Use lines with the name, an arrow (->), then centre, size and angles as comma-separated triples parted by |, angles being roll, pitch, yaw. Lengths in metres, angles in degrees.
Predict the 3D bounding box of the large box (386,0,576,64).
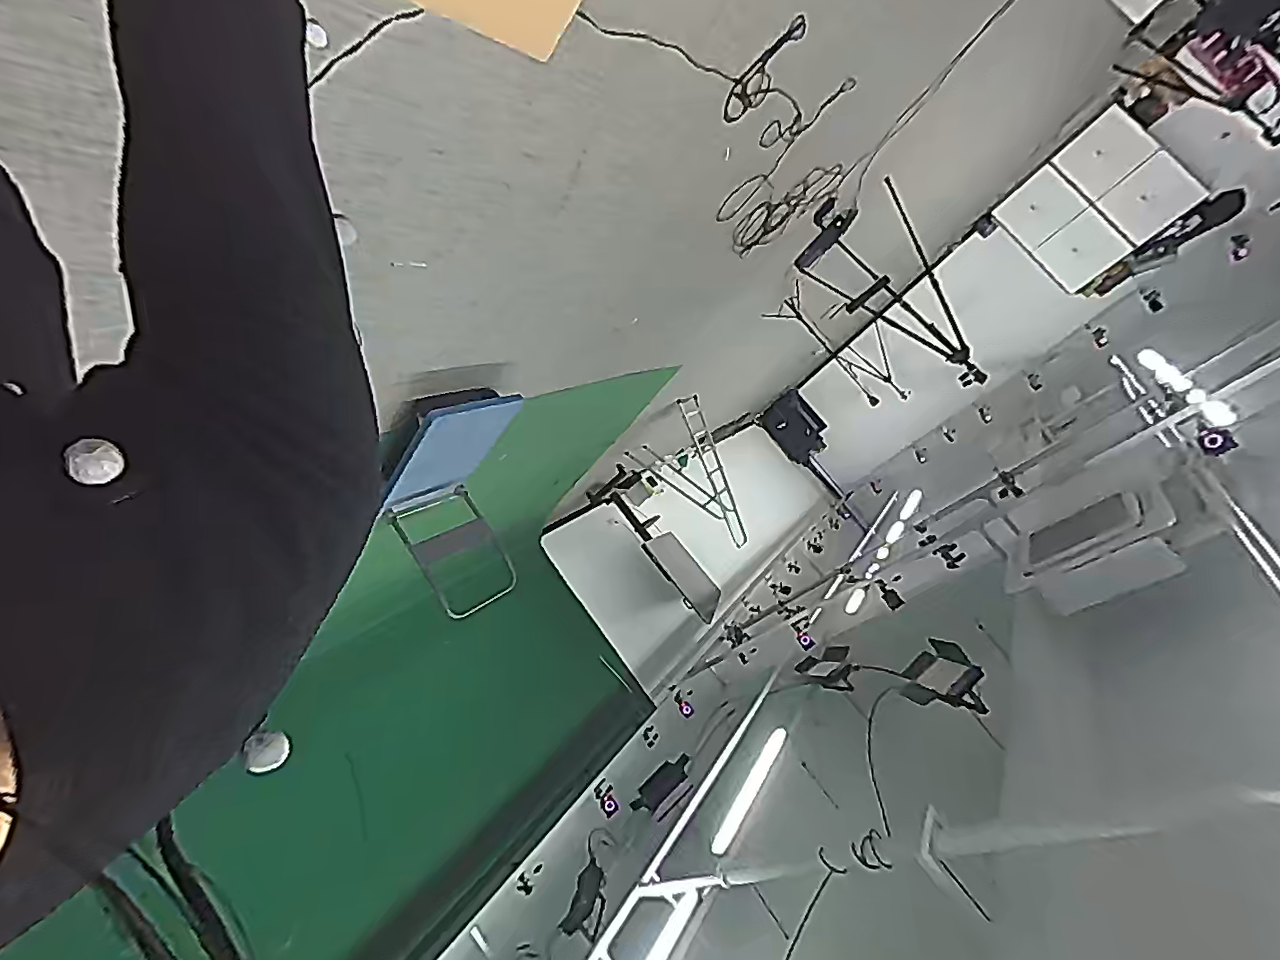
large box -> -0.248, -0.755, 0.571 | 0.320, 0.320, 0.408 | -40, 171, 38
